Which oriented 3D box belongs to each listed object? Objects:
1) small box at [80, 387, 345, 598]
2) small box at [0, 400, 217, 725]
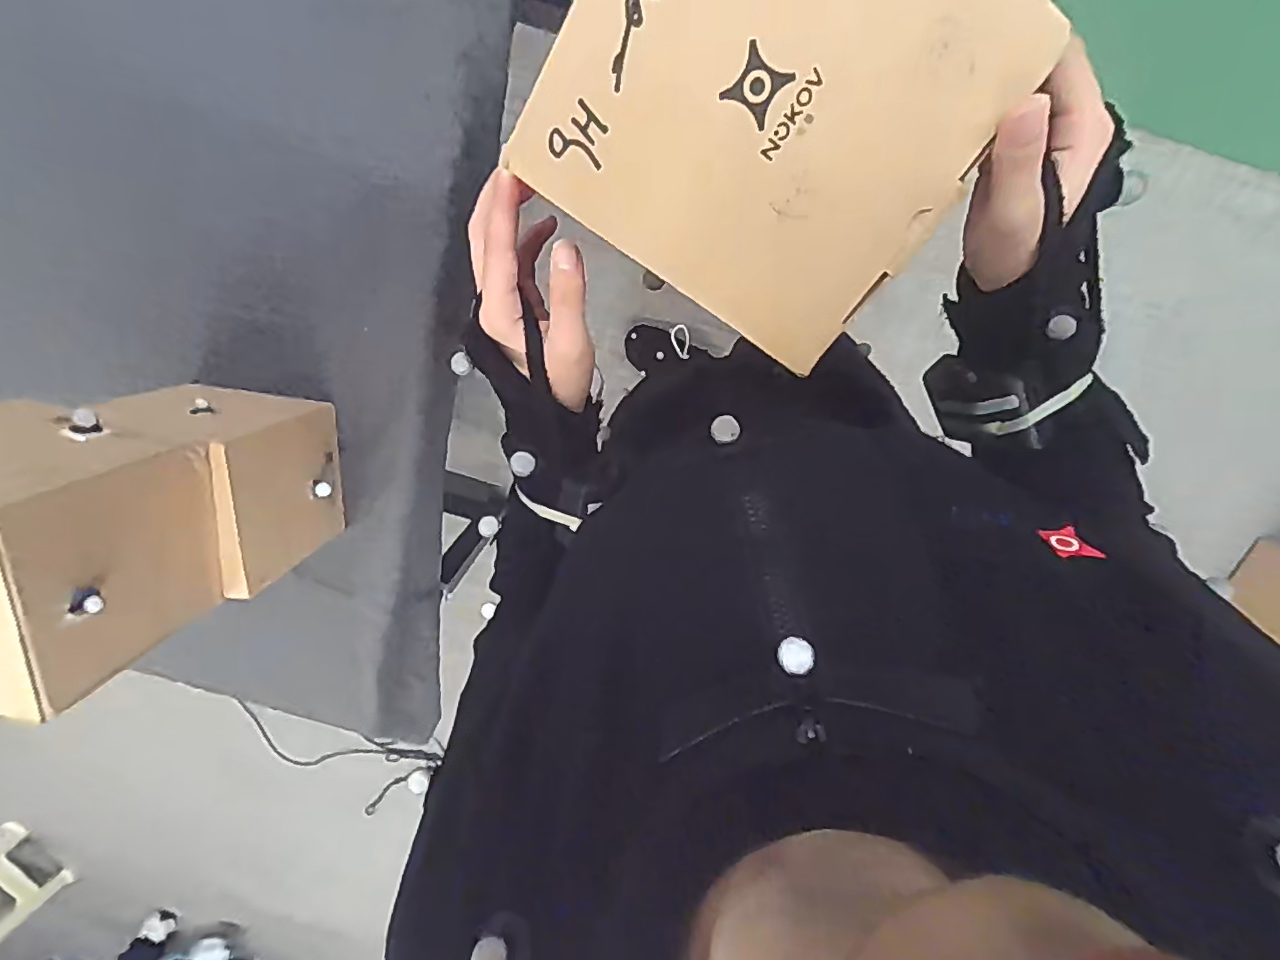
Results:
[{"bbox_3d":[-0.451,0.002,0.578,0.179,0.176,0.168,7,111,0],"label":"small box"},{"bbox_3d":[-0.475,0.050,0.424,0.168,0.176,0.179,11,110,-2],"label":"small box"}]
